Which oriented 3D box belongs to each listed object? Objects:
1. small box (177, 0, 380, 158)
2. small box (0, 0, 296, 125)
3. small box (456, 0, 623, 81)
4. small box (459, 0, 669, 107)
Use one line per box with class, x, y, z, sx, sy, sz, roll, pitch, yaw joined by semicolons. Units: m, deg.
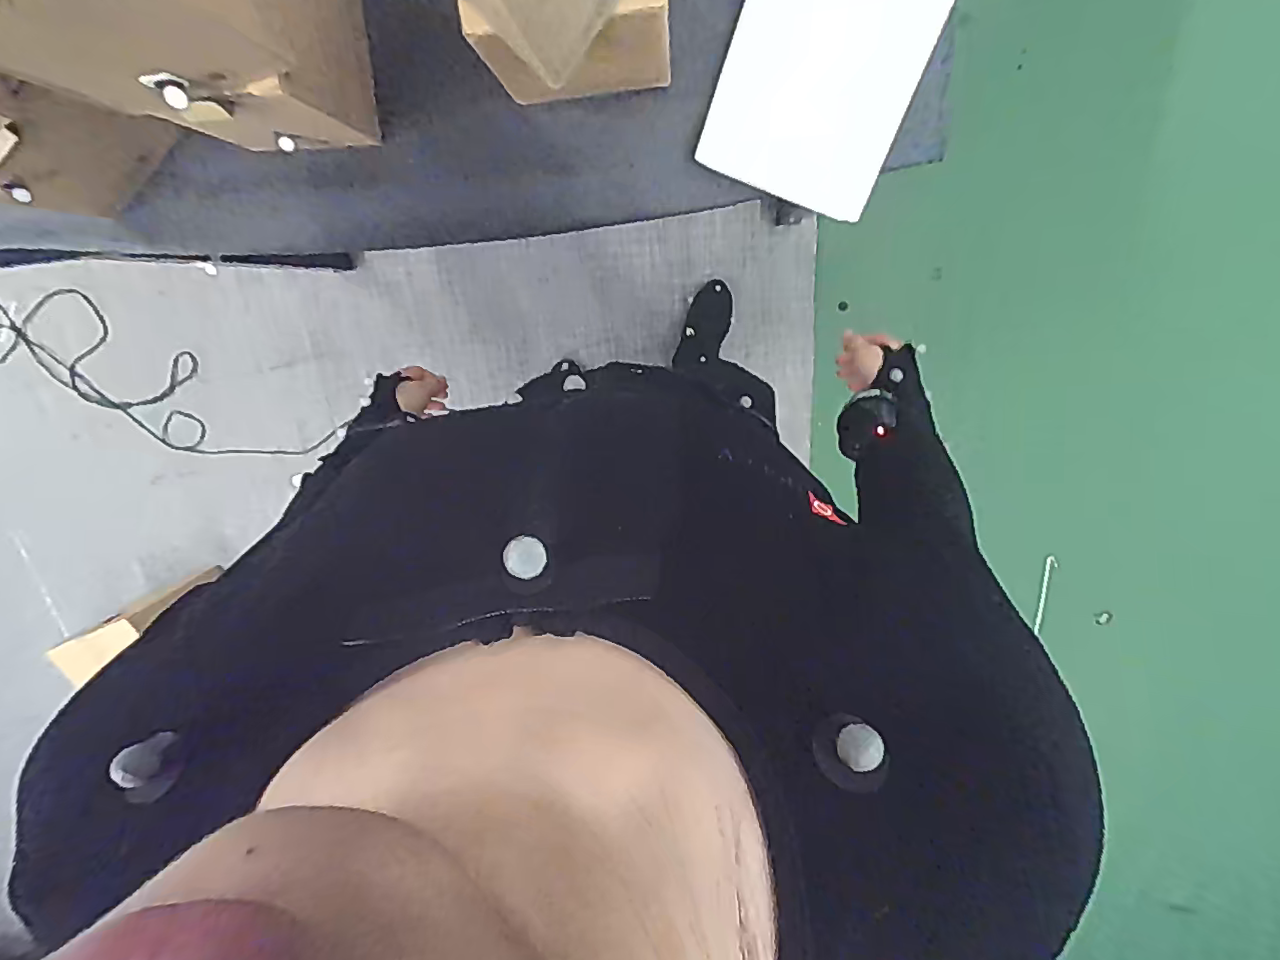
small box;-0.392;-0.448;0.544;0.168;0.176;0.179;0;108;6
small box;-0.401;-0.397;0.390;0.168;0.176;0.179;-11;107;10
small box;-0.091;-0.417;0.354;0.179;0.176;0.168;41;107;-8
small box;-0.064;-0.478;0.505;0.179;0.176;0.168;-3;107;7
